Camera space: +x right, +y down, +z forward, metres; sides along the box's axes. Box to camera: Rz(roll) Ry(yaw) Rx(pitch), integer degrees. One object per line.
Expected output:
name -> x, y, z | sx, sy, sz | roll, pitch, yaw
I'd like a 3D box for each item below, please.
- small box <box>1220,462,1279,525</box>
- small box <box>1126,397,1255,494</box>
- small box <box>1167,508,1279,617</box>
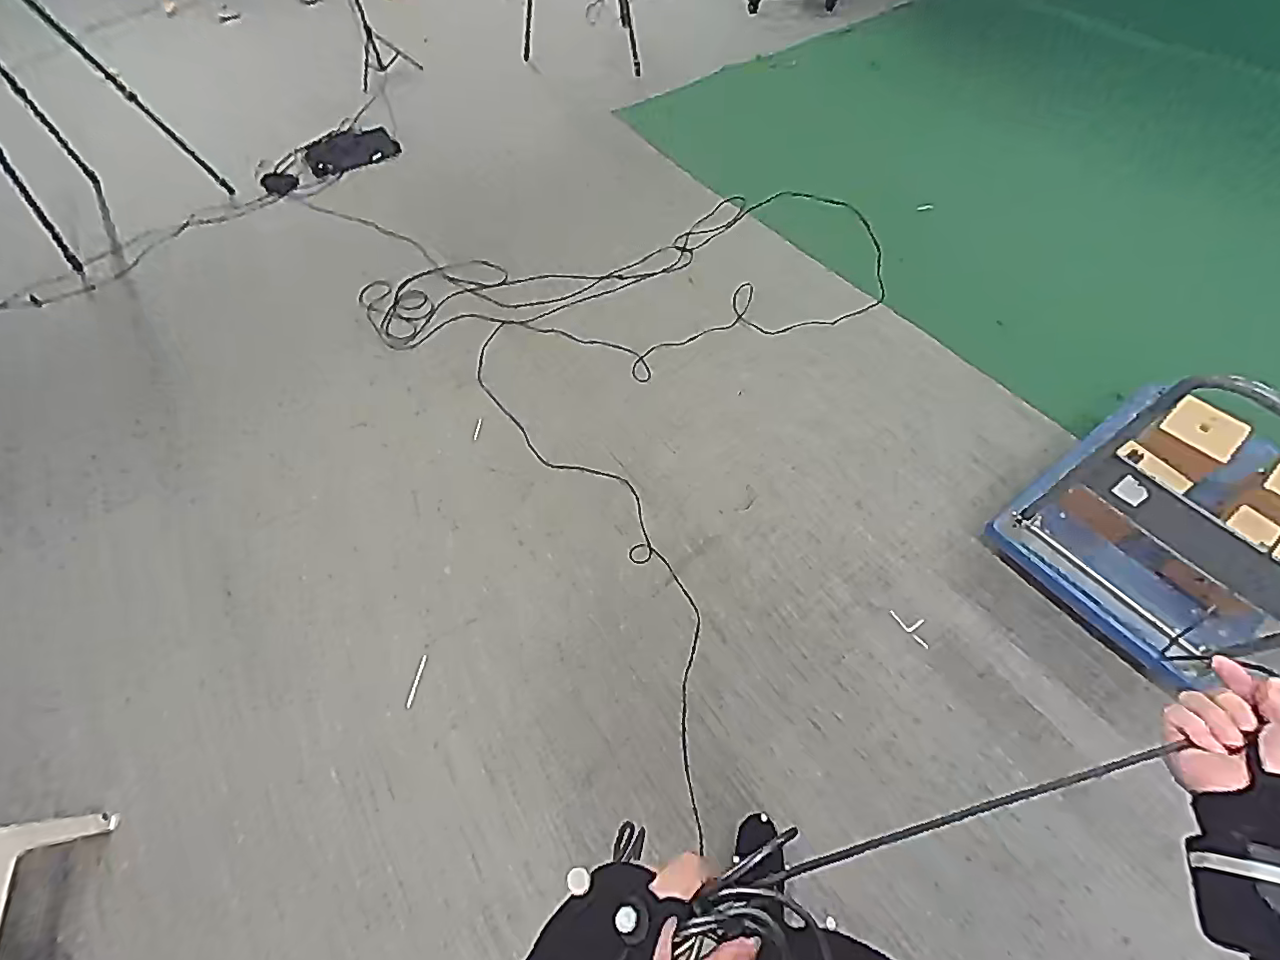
small box -> 1.693, 0.063, 1.406 | 0.179, 0.176, 0.168 | -37, 62, -17
small box -> 1.529, -0.093, 1.517 | 0.179, 0.176, 0.168 | -37, 63, -18
small box -> 1.476, 0.206, 1.330 | 0.179, 0.176, 0.168 | -33, 61, -15
